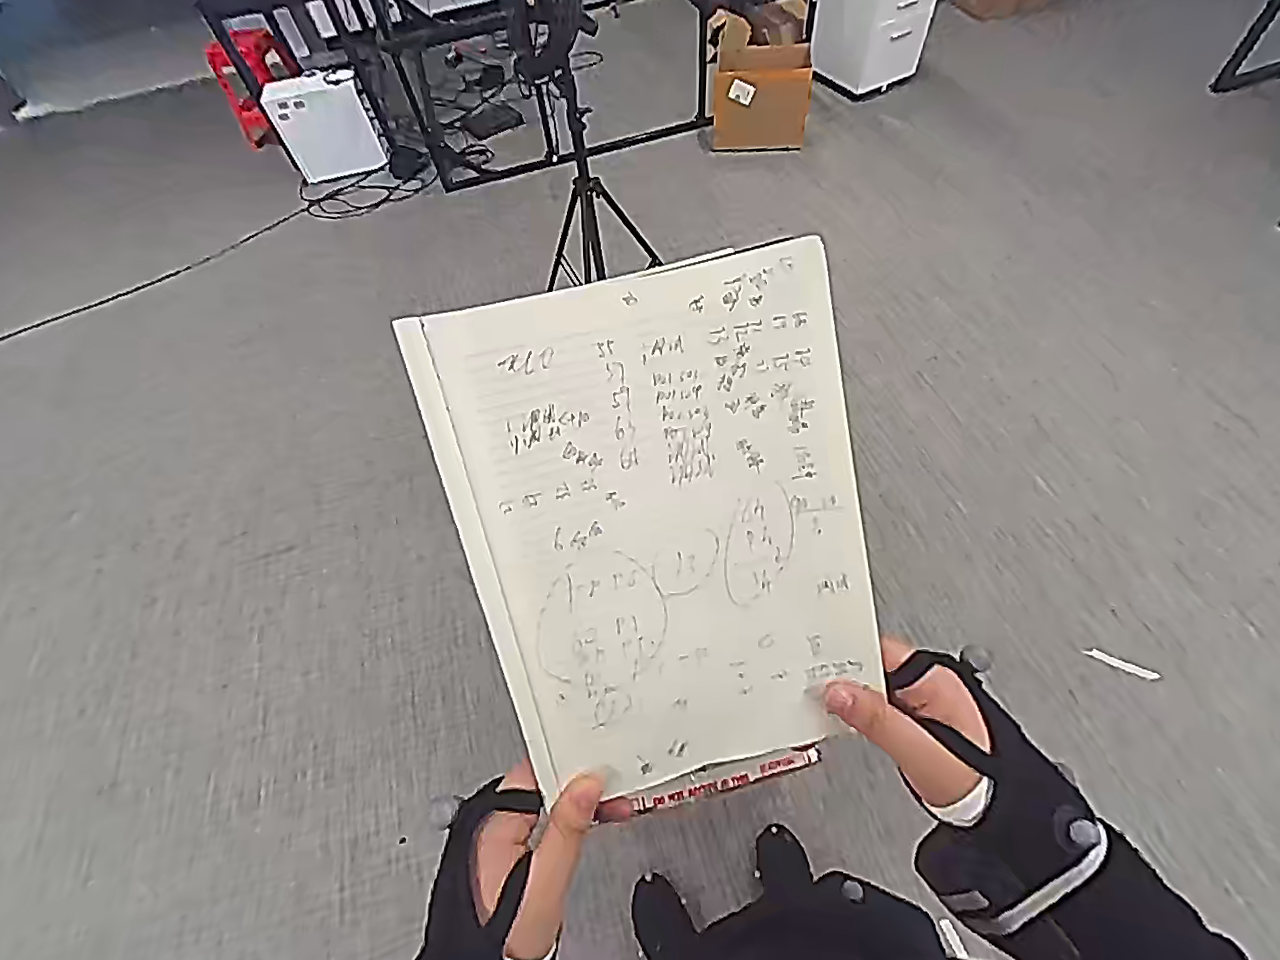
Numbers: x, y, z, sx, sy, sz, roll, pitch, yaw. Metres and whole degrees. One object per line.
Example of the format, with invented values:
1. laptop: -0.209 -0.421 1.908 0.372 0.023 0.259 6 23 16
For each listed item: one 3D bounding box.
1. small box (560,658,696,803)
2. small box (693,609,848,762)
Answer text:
1. small box: -0.015 0.390 0.838 0.179 0.176 0.168 -12 59 0
2. small box: 0.192 0.329 0.857 0.179 0.176 0.168 -18 58 -7
